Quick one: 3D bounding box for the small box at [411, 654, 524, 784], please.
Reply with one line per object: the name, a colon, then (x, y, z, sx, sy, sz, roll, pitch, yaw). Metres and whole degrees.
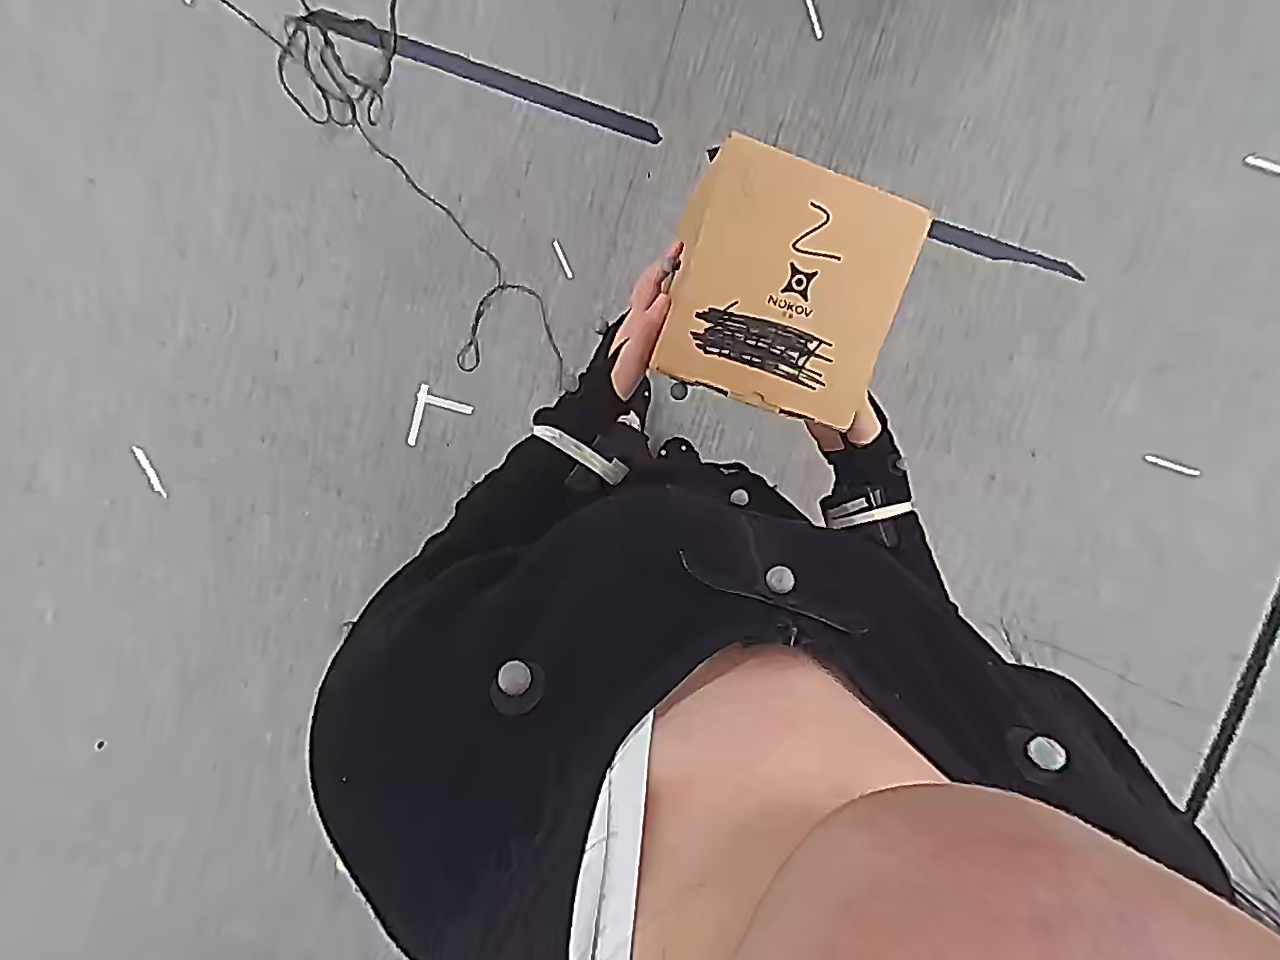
small box: (-0.325, 0.448, 1.002, 0.168, 0.176, 0.179, 14, 95, 1)
